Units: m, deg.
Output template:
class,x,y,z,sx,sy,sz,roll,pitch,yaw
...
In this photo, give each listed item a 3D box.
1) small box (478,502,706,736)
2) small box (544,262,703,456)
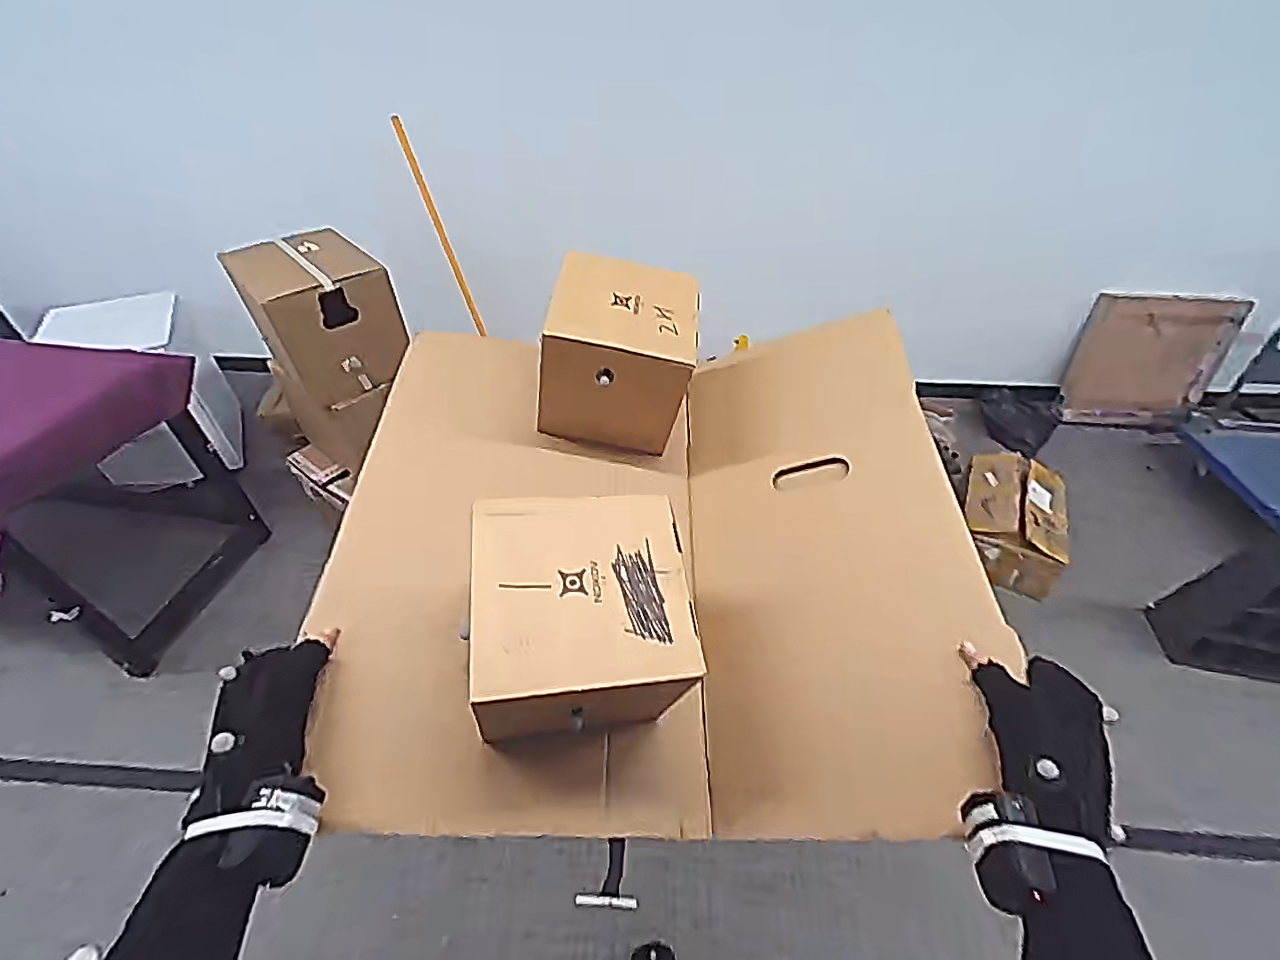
class,x,y,z,sx,sy,sz,roll,pitch,yaw
small box,-0.057,0.134,0.512,0.179,0.176,0.168,-1,57,-13
small box,-0.025,-0.152,0.716,0.179,0.176,0.168,12,54,-6
